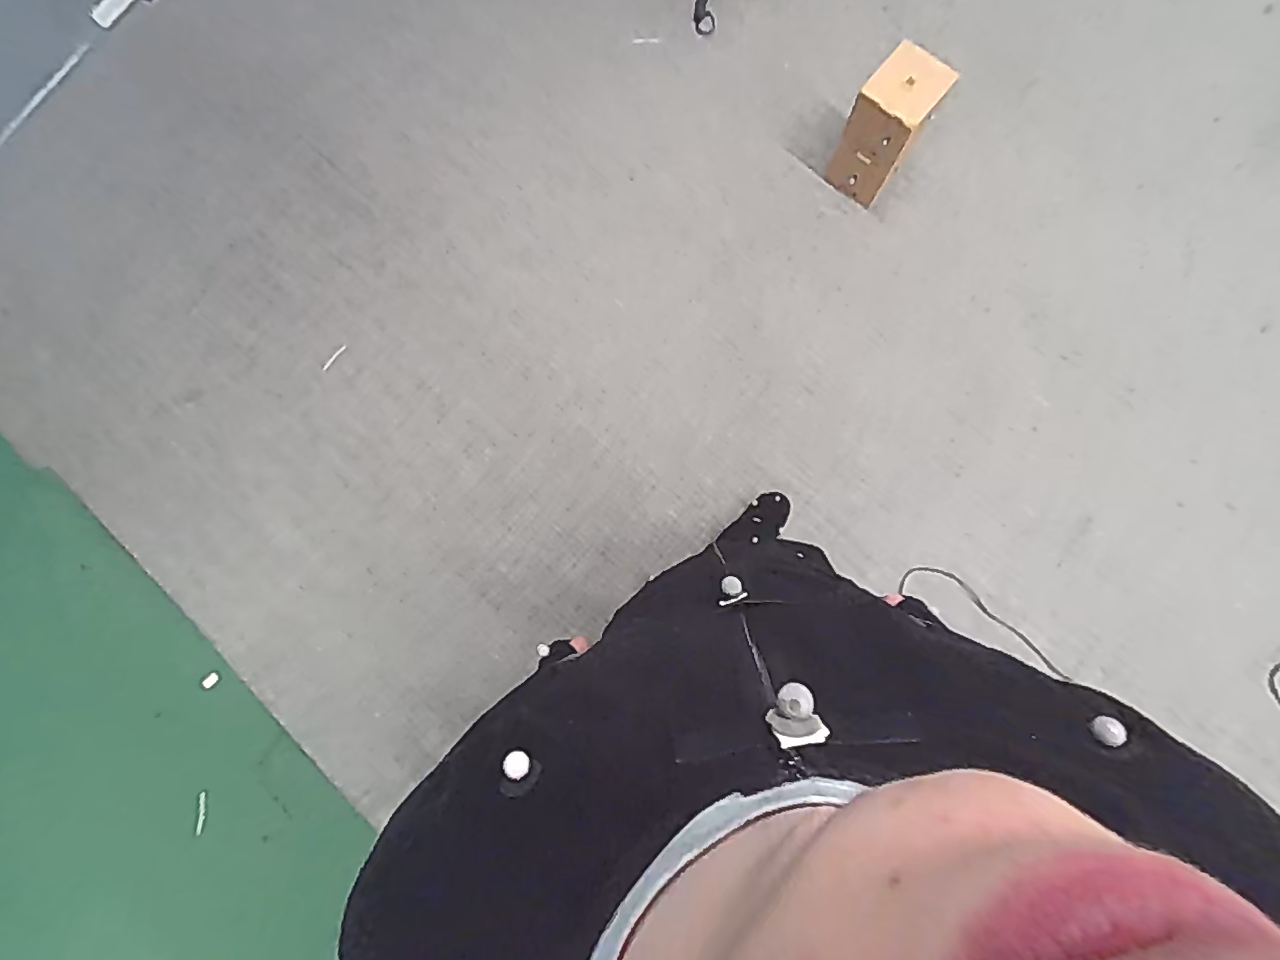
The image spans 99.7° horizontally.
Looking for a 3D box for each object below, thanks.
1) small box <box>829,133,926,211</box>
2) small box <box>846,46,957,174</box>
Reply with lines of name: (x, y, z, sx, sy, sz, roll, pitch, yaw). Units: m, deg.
small box: (0.664, -0.914, 1.542, 0.168, 0.176, 0.179, 40, 88, 7)
small box: (0.652, -0.932, 1.380, 0.168, 0.176, 0.179, 40, 87, 7)
